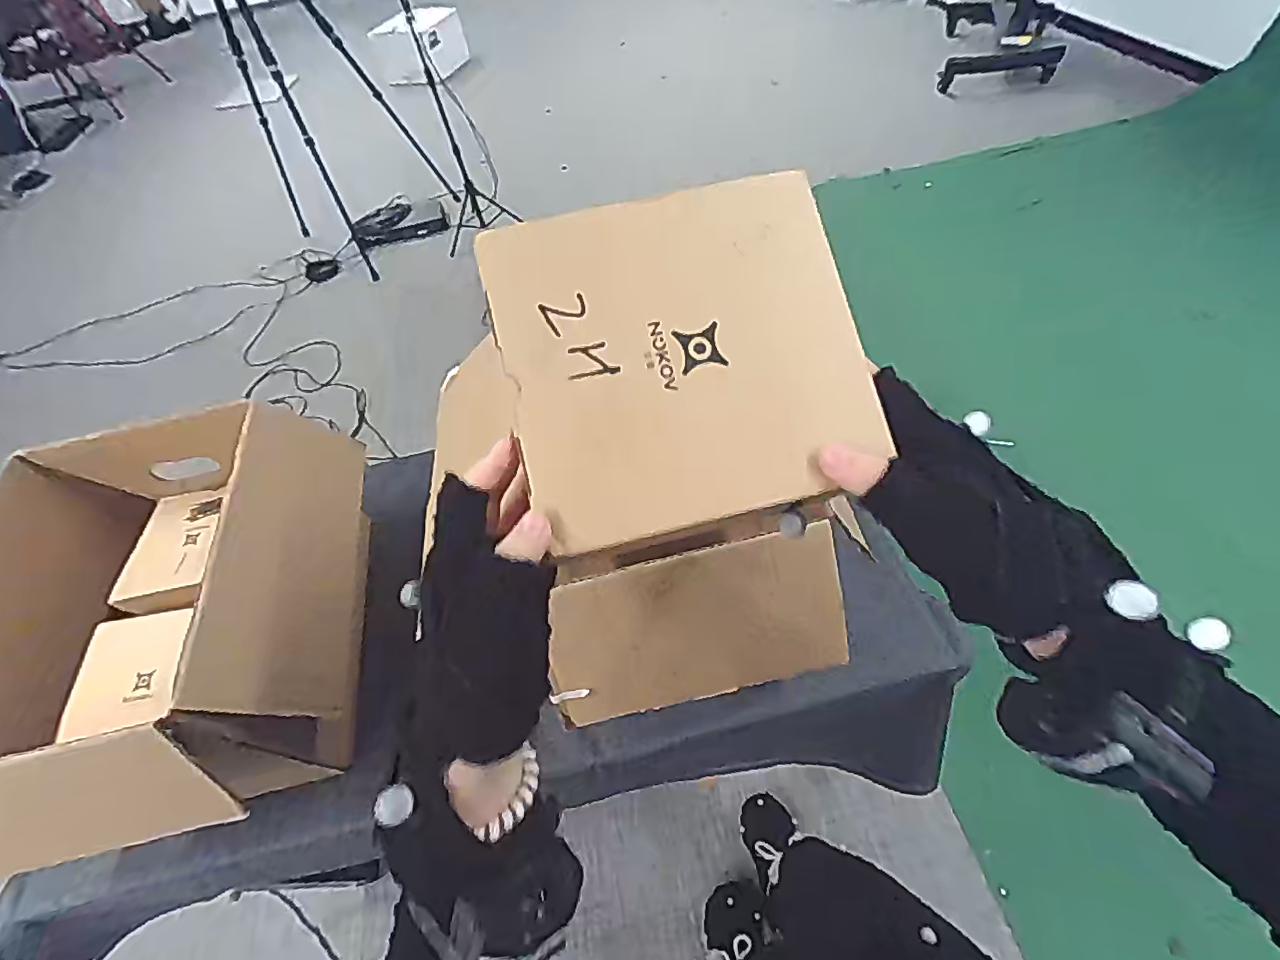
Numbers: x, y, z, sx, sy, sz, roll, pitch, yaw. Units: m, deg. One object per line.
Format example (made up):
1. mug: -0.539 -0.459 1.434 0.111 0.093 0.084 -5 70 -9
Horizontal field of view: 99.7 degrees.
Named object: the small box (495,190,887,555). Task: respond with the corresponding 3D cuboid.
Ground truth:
1. small box: 0.020 -0.050 0.354 0.179 0.176 0.168 -12 80 -5
